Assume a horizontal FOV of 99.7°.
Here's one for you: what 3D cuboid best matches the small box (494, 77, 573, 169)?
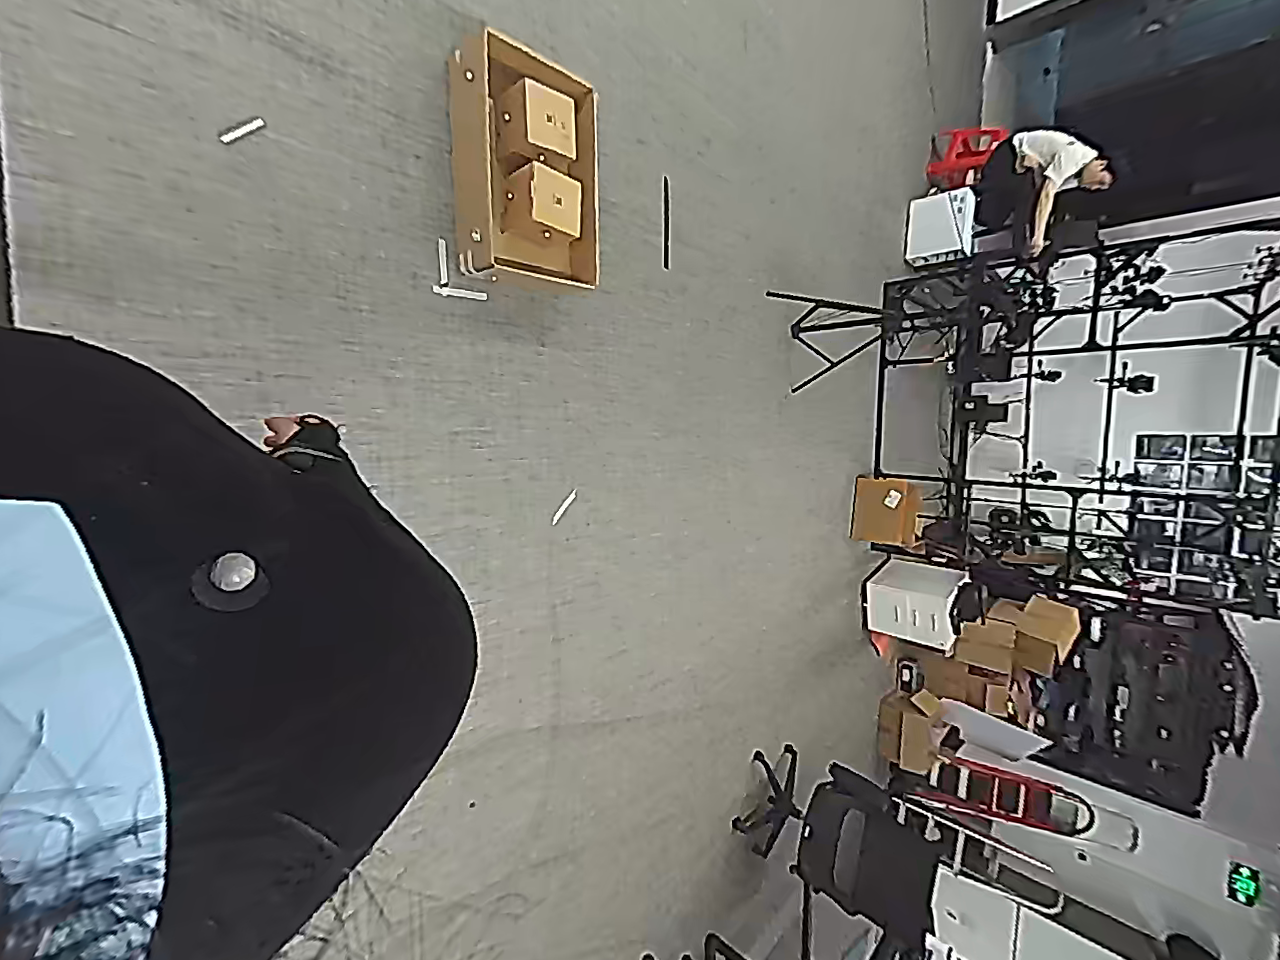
[{"bbox_3d":[-0.321,-1.043,1.607,0.179,0.176,0.168,-10,103,-46],"label":"small box"}]

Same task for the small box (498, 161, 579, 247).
[{"bbox_3d":[-0.310,-0.829,1.648,0.179,0.176,0.168,1,93,-46],"label":"small box"}]
